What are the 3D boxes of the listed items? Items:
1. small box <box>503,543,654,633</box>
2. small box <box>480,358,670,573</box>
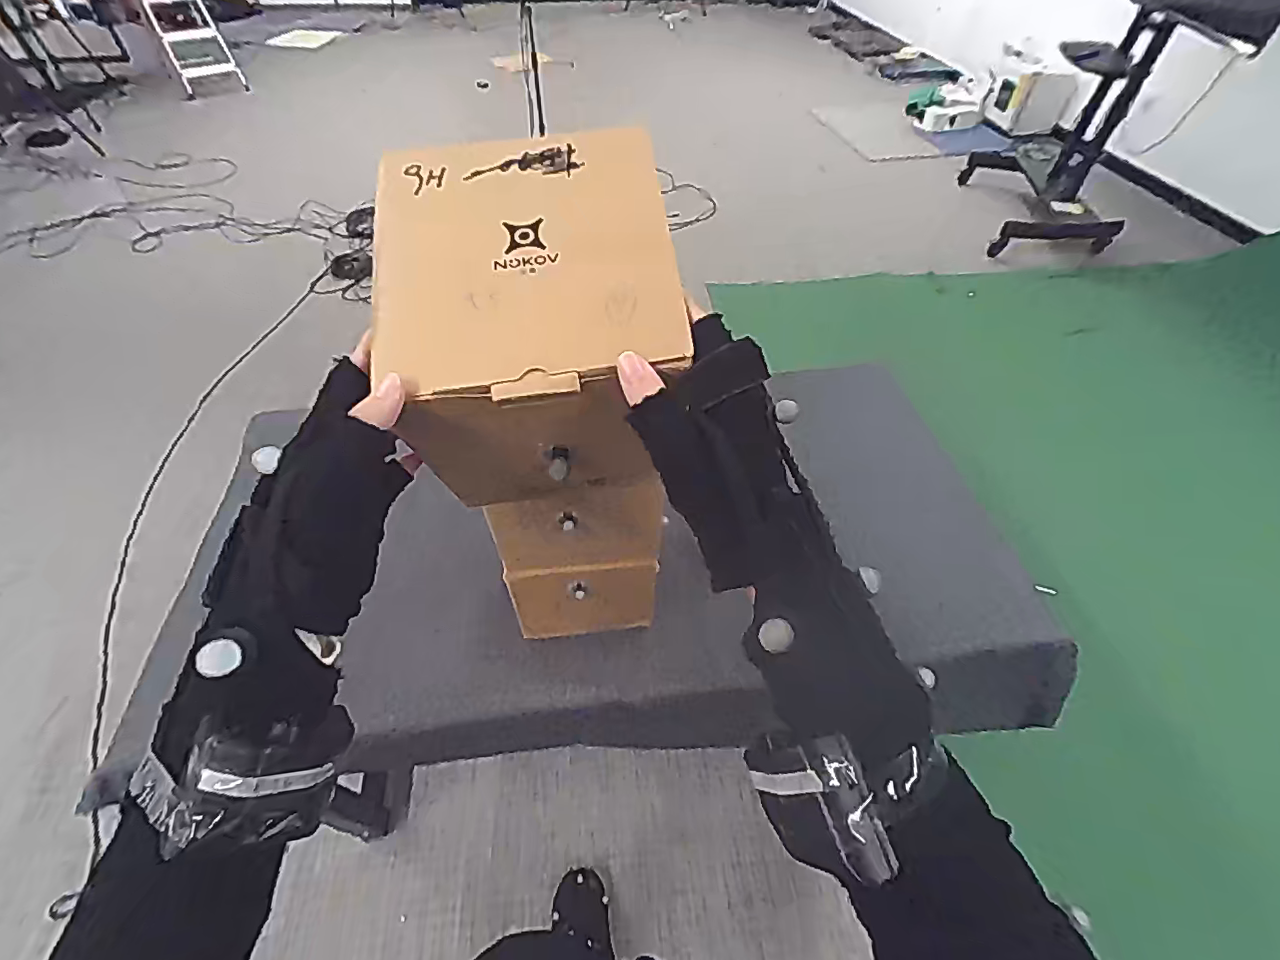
[{"bbox_3d":[-0.078,0.093,0.726,0.179,0.176,0.168,-4,51,-6],"label":"small box"},{"bbox_3d":[-0.072,-0.013,0.602,0.179,0.176,0.168,-6,51,-7],"label":"small box"}]
